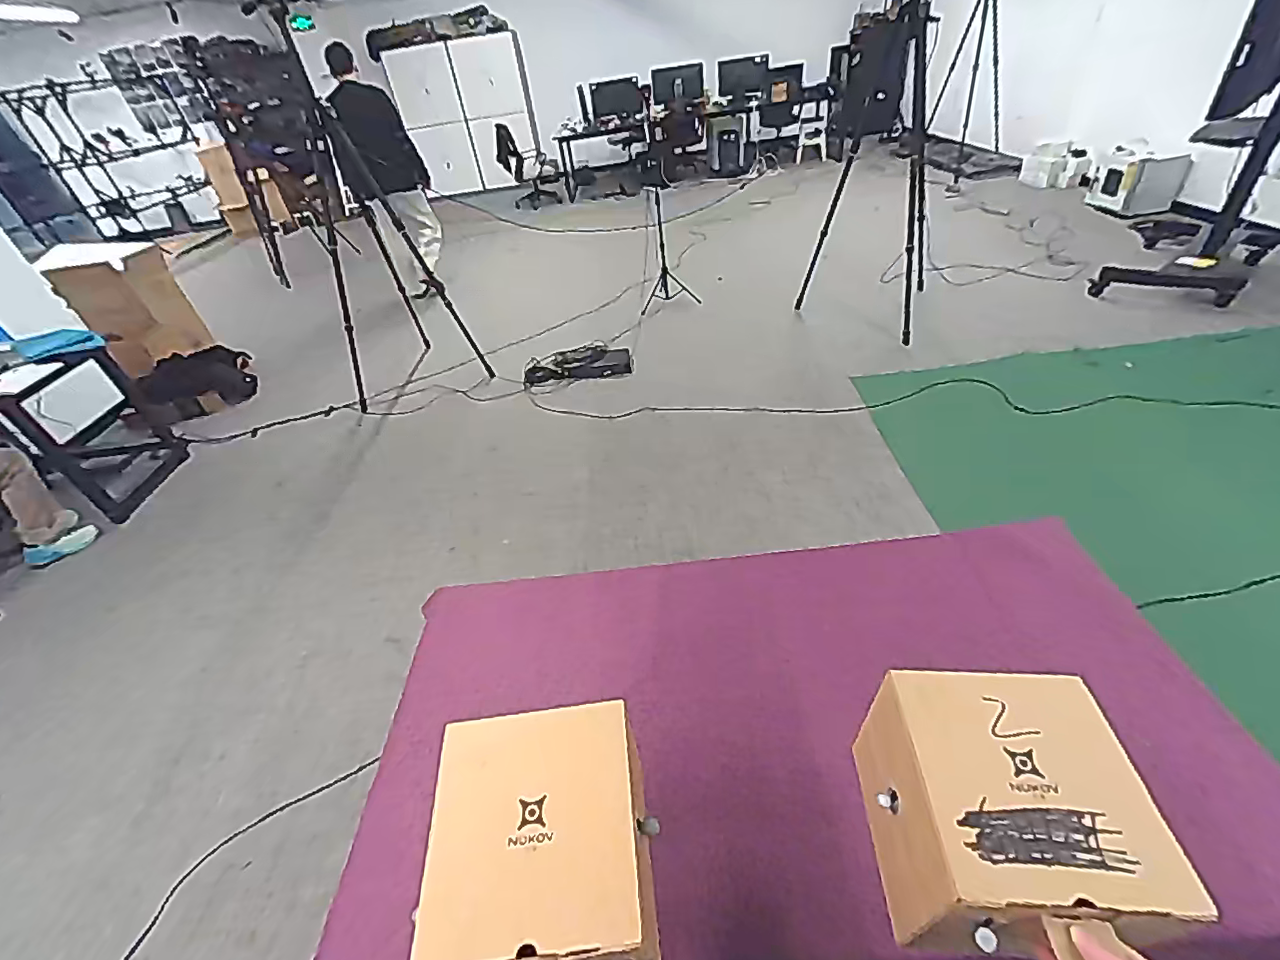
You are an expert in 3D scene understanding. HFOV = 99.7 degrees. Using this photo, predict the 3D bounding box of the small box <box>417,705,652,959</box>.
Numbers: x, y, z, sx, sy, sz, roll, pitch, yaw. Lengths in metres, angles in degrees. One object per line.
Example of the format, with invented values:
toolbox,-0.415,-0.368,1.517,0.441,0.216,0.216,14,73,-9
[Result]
small box,-0.081,0.337,0.503,0.168,0.176,0.179,-7,45,-1
